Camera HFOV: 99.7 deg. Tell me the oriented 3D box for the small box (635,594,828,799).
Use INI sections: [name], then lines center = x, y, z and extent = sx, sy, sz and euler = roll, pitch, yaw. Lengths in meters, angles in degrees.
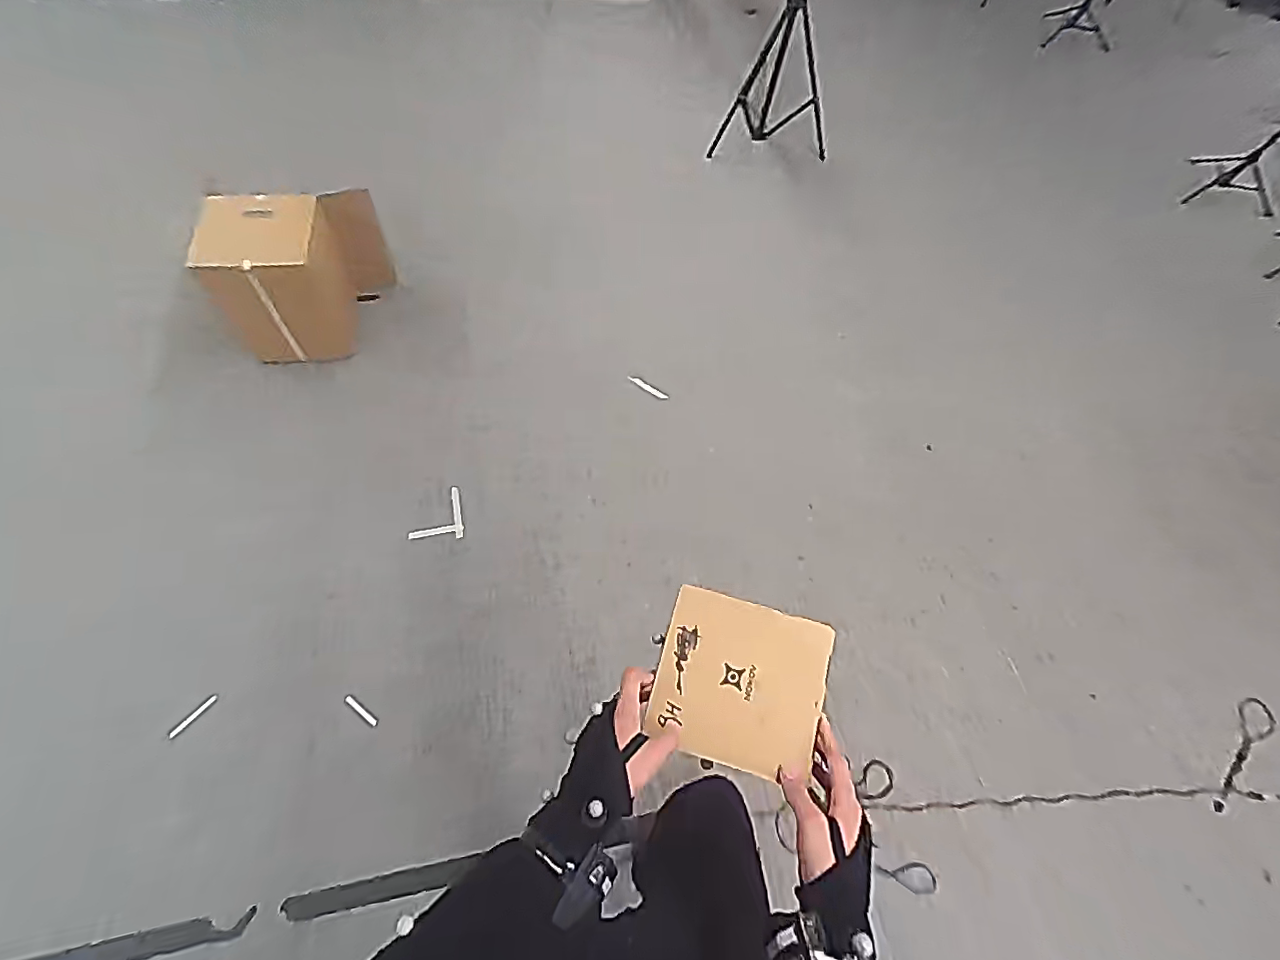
[small box]
center = 0.102, 0.252, 0.649
extent = 0.179, 0.176, 0.168
euler = 16, 69, 7
